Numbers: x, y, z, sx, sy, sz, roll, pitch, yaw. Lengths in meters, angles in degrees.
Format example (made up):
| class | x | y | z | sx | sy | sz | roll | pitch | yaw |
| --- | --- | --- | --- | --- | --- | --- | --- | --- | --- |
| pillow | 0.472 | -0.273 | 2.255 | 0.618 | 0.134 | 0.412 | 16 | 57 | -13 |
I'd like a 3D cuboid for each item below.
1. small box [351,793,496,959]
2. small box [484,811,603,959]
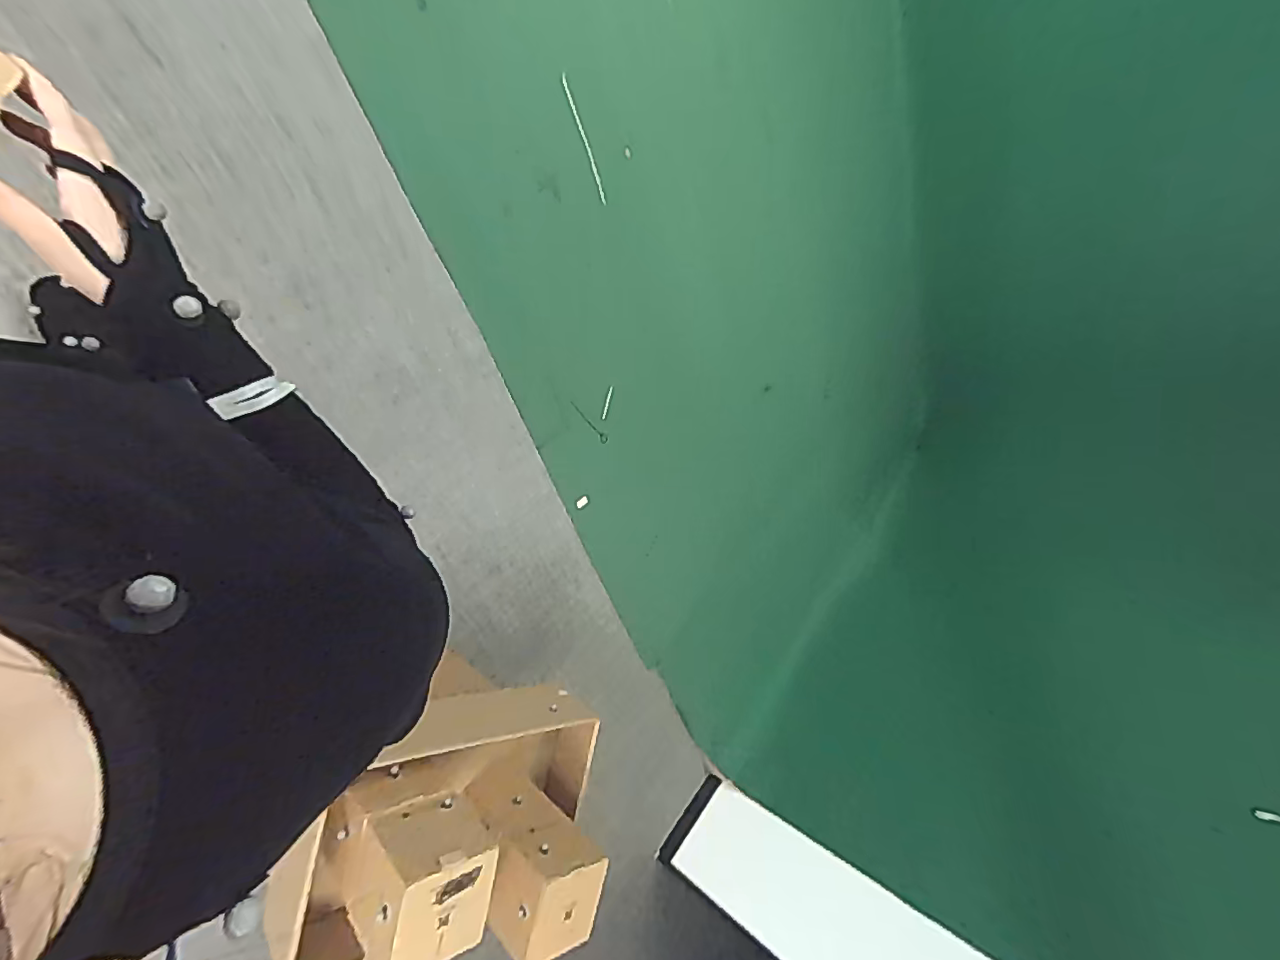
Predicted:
| class | x | y | z | sx | sy | sz | roll | pitch | yaw |
| --- | --- | --- | --- | --- | --- | --- | --- | --- | --- |
| small box | -0.378 | 0.677 | 0.936 | 0.168 | 0.176 | 0.179 | 9 | 94 | -46 |
| small box | -0.210 | 0.837 | 1.145 | 0.168 | 0.176 | 0.179 | 17 | 88 | -45 |
